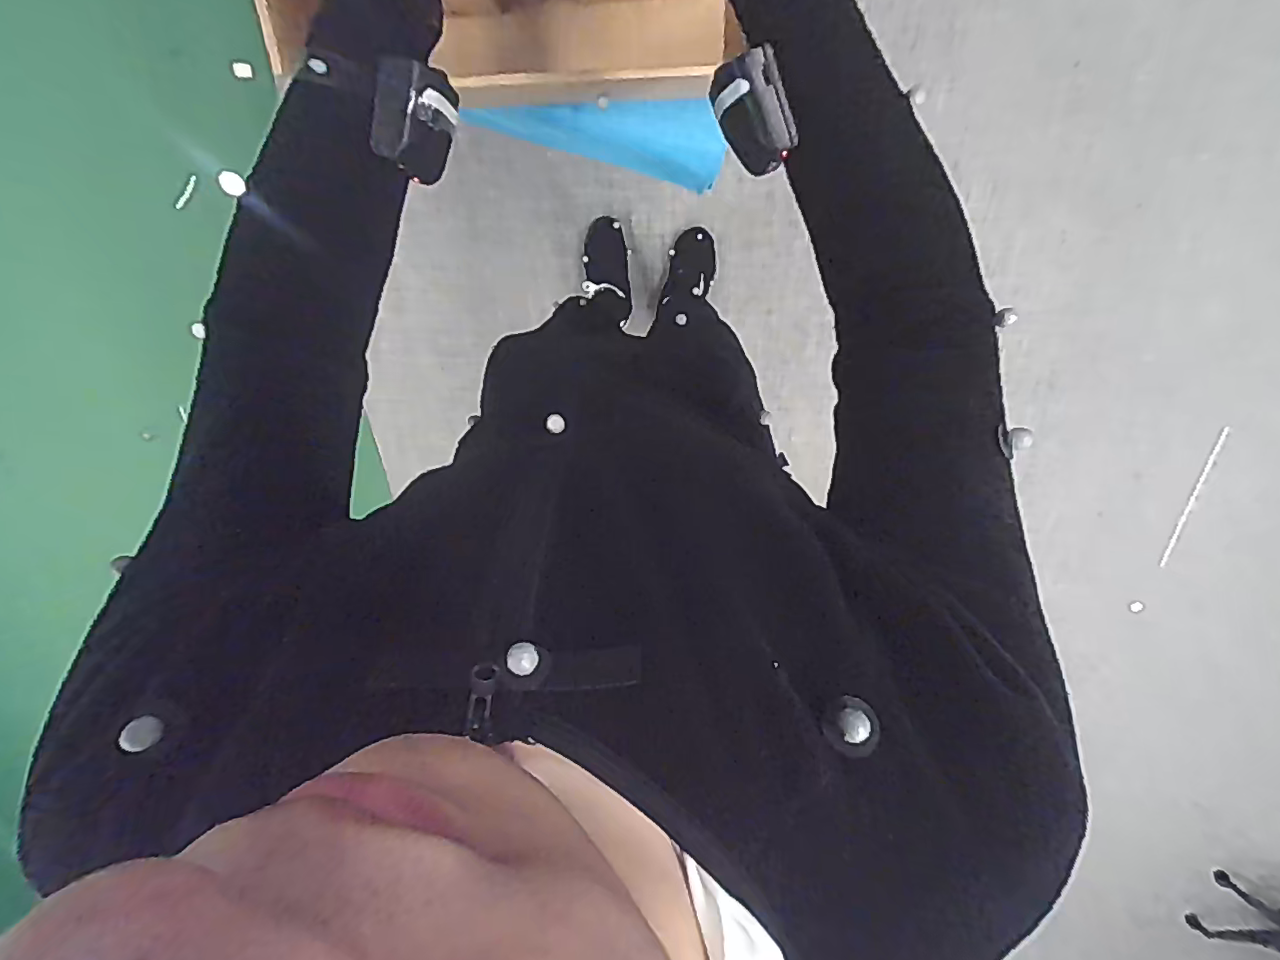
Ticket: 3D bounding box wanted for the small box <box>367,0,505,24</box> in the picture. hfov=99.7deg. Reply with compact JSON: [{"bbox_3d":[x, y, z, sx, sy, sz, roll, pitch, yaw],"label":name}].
[{"bbox_3d":[-0.264,-0.654,0.608,0.168,0.176,0.179,1,115,6],"label":"small box"}]
